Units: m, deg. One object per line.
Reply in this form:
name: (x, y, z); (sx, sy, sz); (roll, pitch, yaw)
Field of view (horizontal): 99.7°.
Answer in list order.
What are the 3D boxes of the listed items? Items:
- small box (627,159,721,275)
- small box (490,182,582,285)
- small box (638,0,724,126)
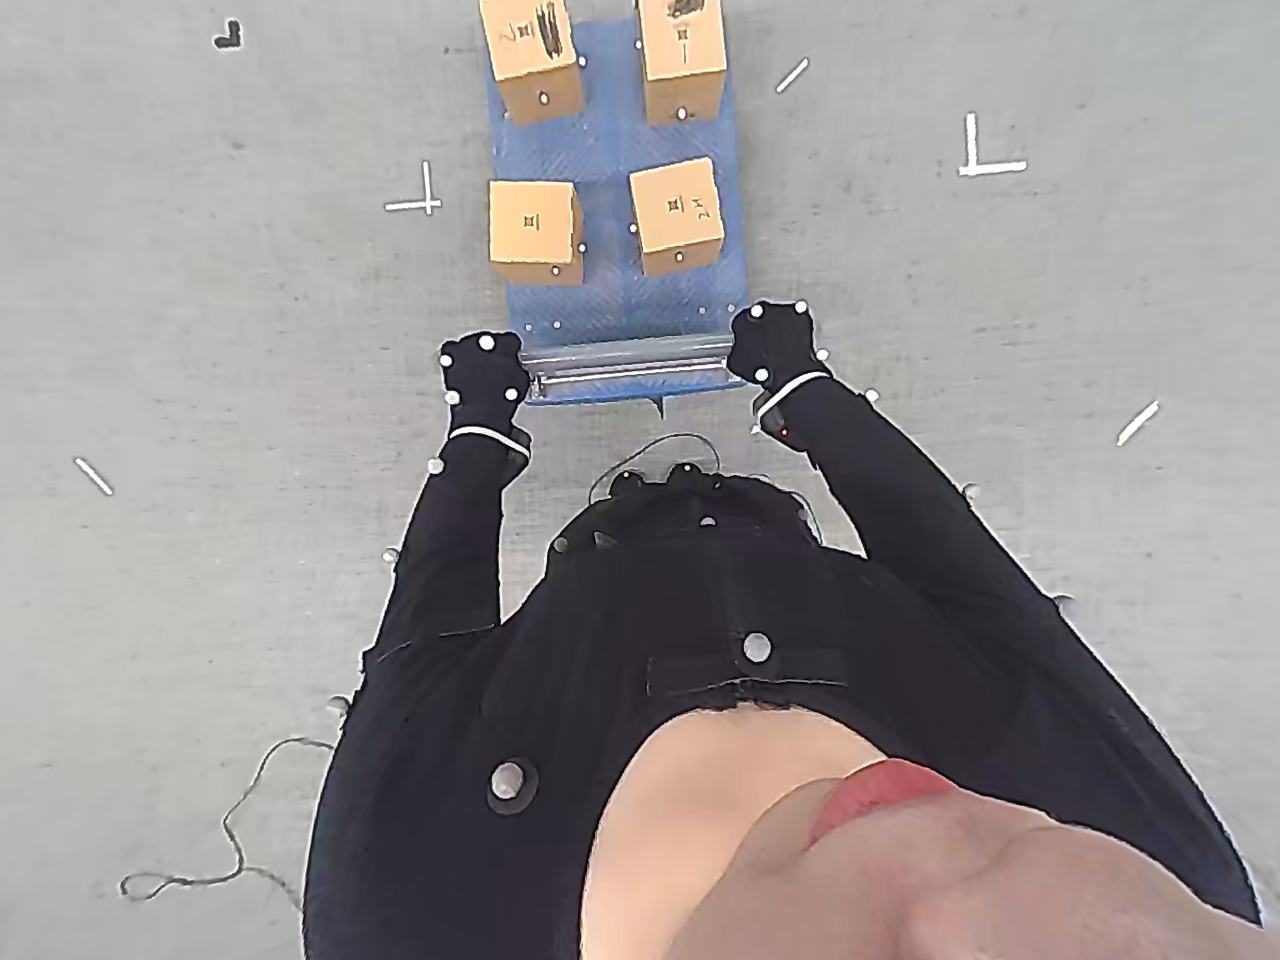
small box: (0.076, -0.577, 1.210); (0.179, 0.176, 0.168); (-11, 93, 2)
small box: (-0.230, -0.547, 1.220); (0.179, 0.176, 0.168); (0, 93, 0)
small box: (0.084, -0.921, 1.188); (0.168, 0.176, 0.179); (-7, 94, 2)
